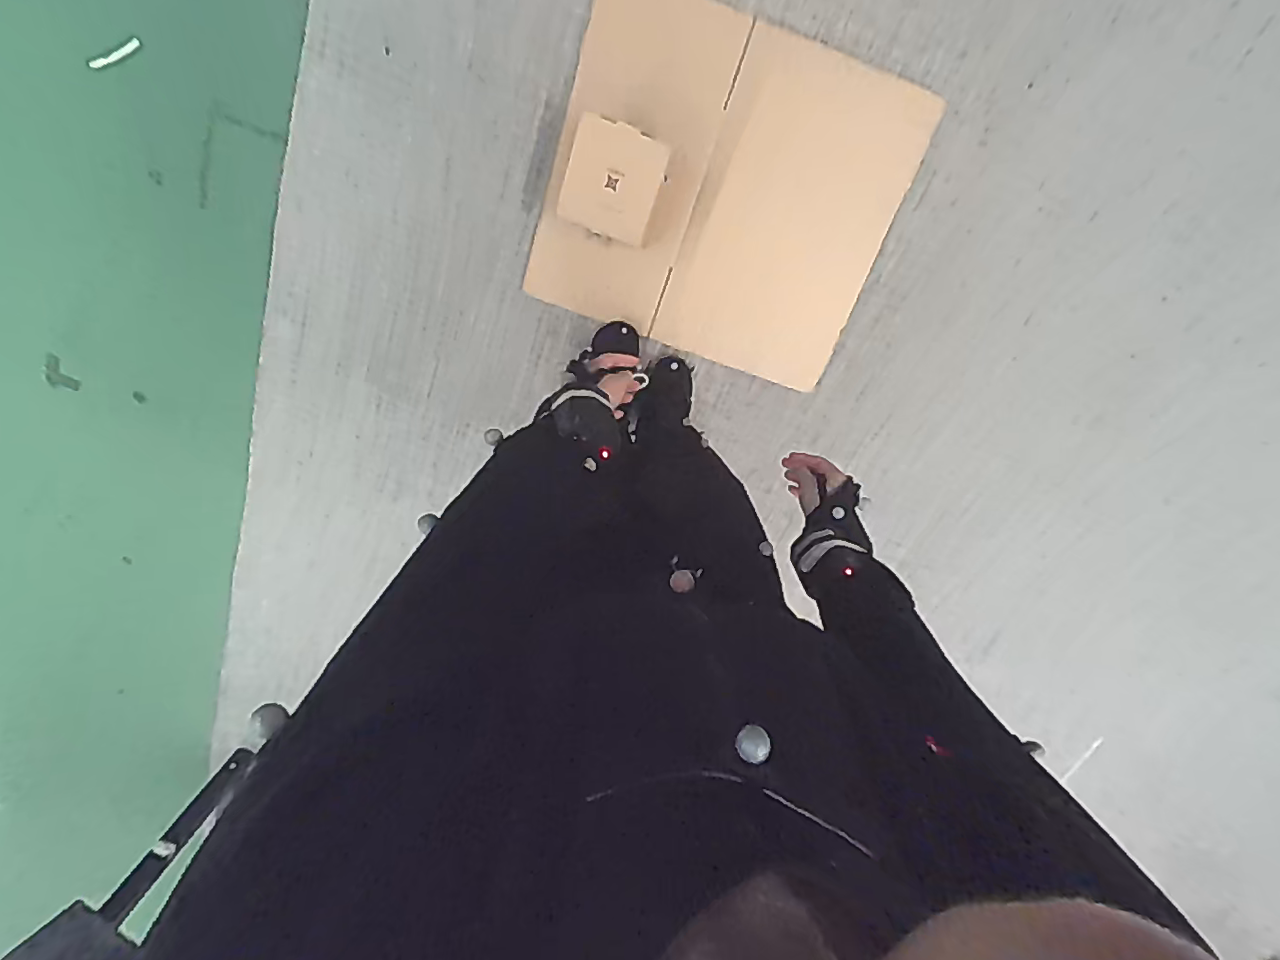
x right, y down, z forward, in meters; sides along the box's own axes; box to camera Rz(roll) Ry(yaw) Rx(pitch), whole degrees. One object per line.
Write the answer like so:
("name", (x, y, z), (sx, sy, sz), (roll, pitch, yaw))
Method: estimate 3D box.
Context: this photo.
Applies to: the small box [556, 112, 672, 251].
("small box", (-0.046, -0.554, 1.029), (0.168, 0.176, 0.179), (19, 111, -5))
